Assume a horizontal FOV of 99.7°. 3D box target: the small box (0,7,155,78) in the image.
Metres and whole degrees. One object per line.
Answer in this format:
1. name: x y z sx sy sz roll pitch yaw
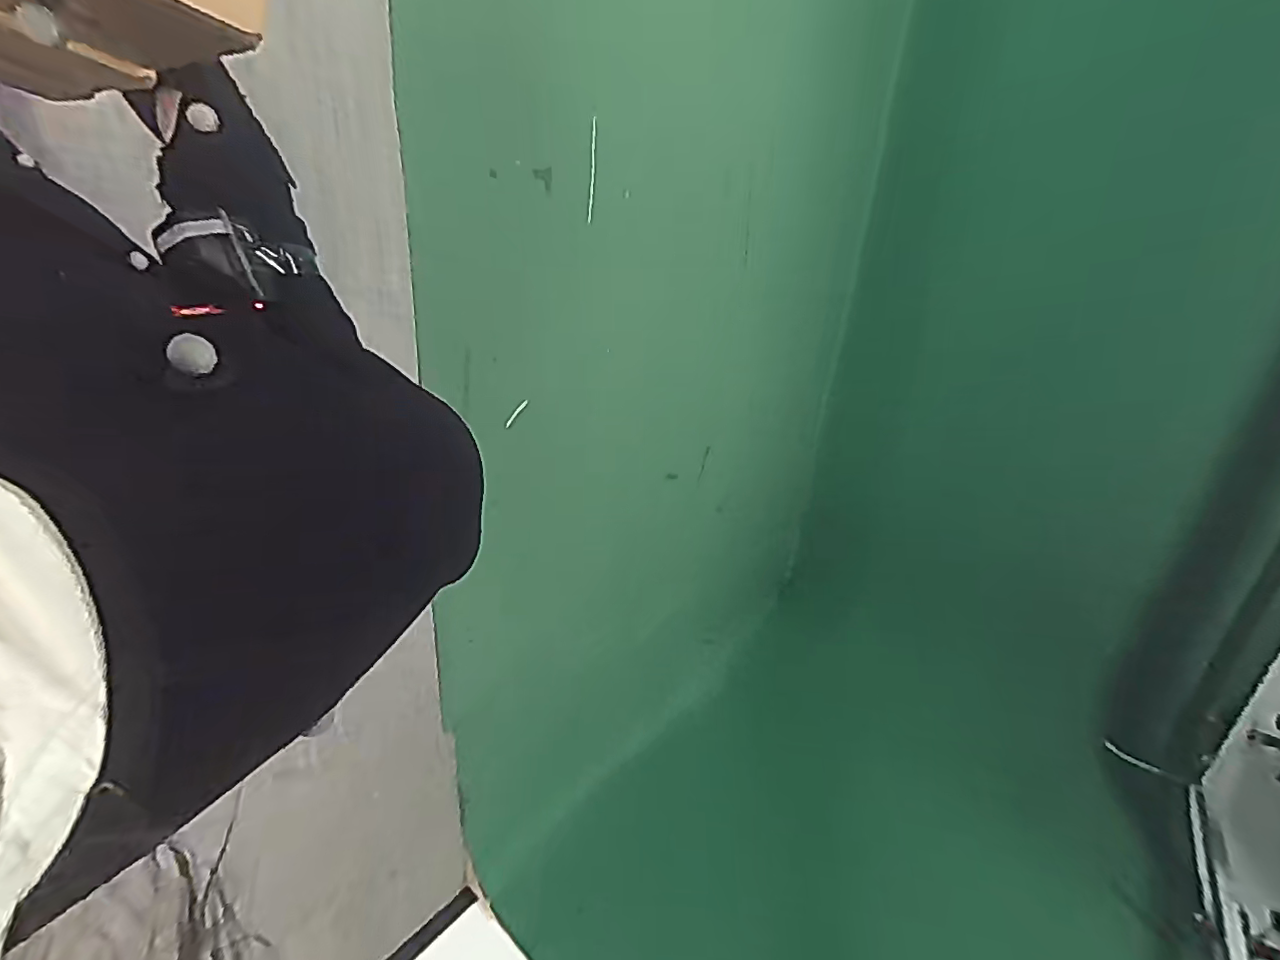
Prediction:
1. small box: -0.339 -0.305 0.226 0.179 0.176 0.168 -7 117 -53

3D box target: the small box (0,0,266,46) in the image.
1. small box: -0.220 -0.246 0.135 0.179 0.176 0.168 -8 118 -50
